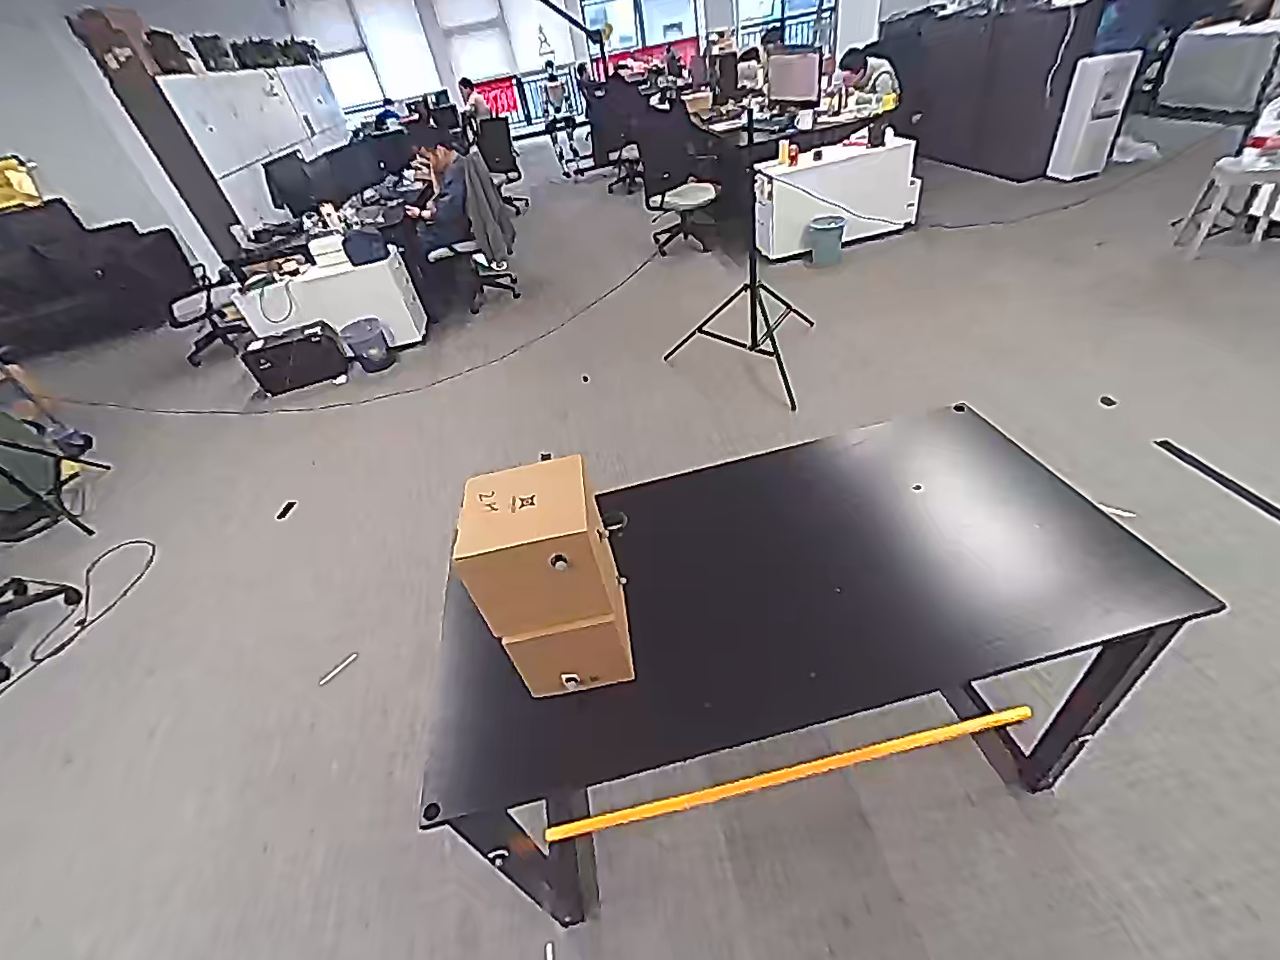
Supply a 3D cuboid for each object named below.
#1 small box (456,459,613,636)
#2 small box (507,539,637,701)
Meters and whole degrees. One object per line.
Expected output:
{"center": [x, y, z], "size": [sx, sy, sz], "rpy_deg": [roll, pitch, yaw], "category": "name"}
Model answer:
{"center": [-0.139, 0.098, 0.778], "size": [0.179, 0.176, 0.168], "rpy_deg": [-13, 39, 1], "category": "small box"}
{"center": [-0.106, 0.225, 0.877], "size": [0.168, 0.176, 0.179], "rpy_deg": [-13, 40, 1], "category": "small box"}
